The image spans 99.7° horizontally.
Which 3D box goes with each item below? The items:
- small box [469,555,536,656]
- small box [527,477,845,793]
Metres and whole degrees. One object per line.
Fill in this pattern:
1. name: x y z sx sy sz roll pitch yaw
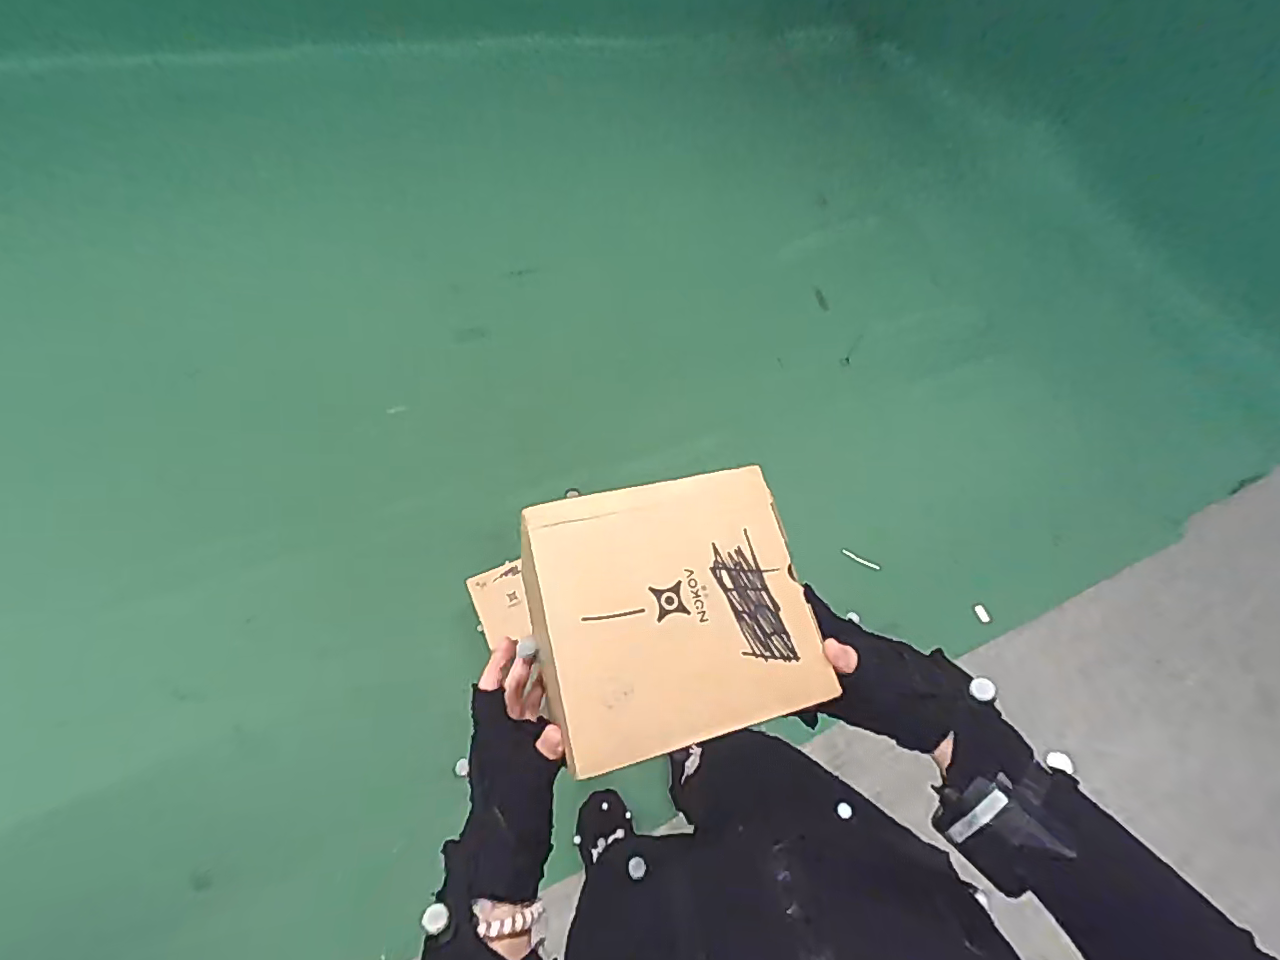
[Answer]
1. small box: -0.291 0.306 1.287 0.168 0.176 0.179 -20 70 -18
2. small box: 0.014 0.114 0.414 0.179 0.176 0.168 -10 69 -16
